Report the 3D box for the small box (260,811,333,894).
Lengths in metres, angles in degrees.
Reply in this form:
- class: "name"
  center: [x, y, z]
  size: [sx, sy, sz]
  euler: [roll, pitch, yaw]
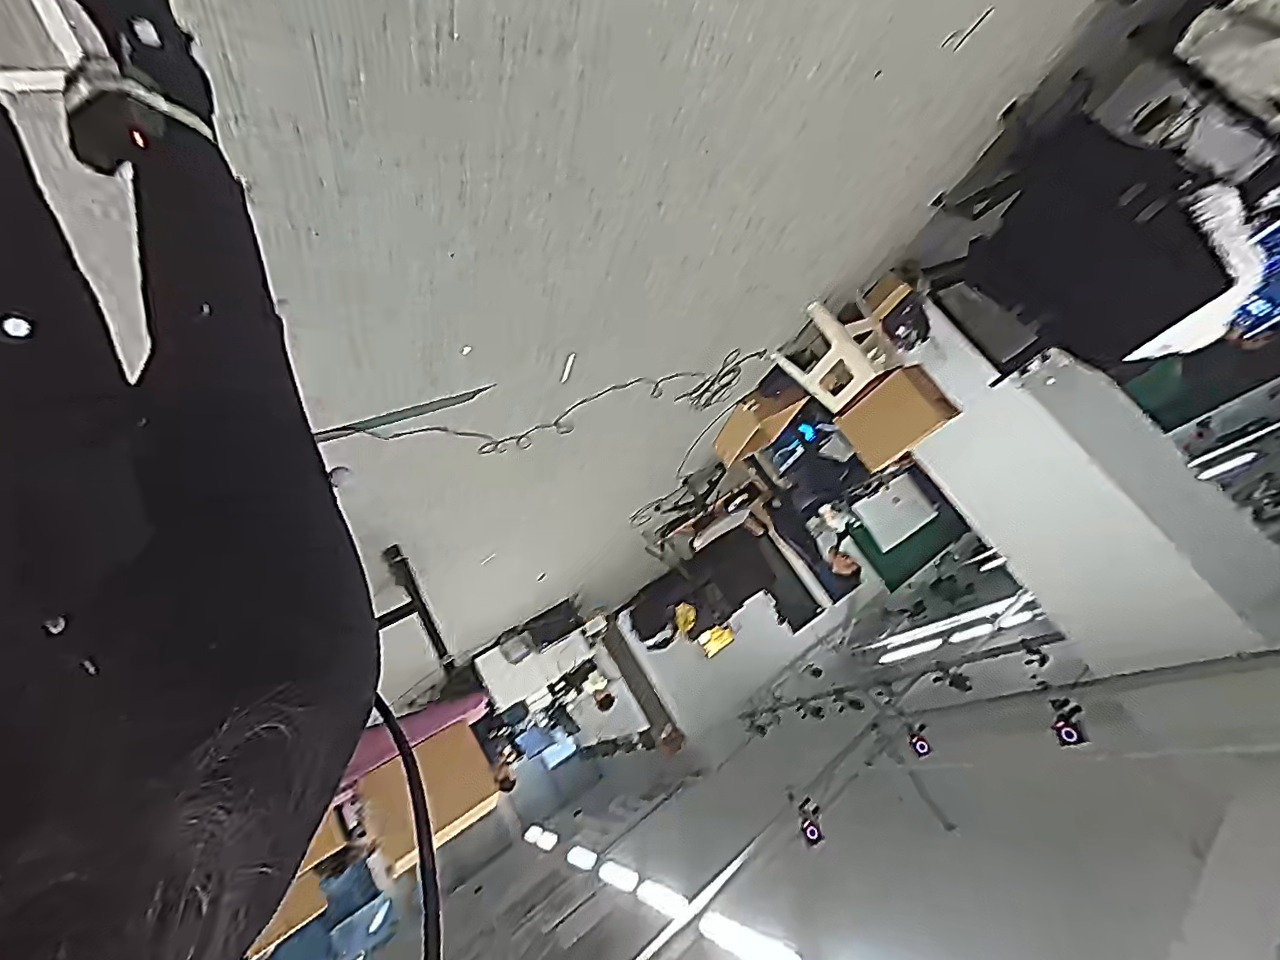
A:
- class: "small box"
  center: [-1.159, 1.253, 1.823]
  size: [0.168, 0.176, 0.179]
  euler: [-20, 158, -41]
